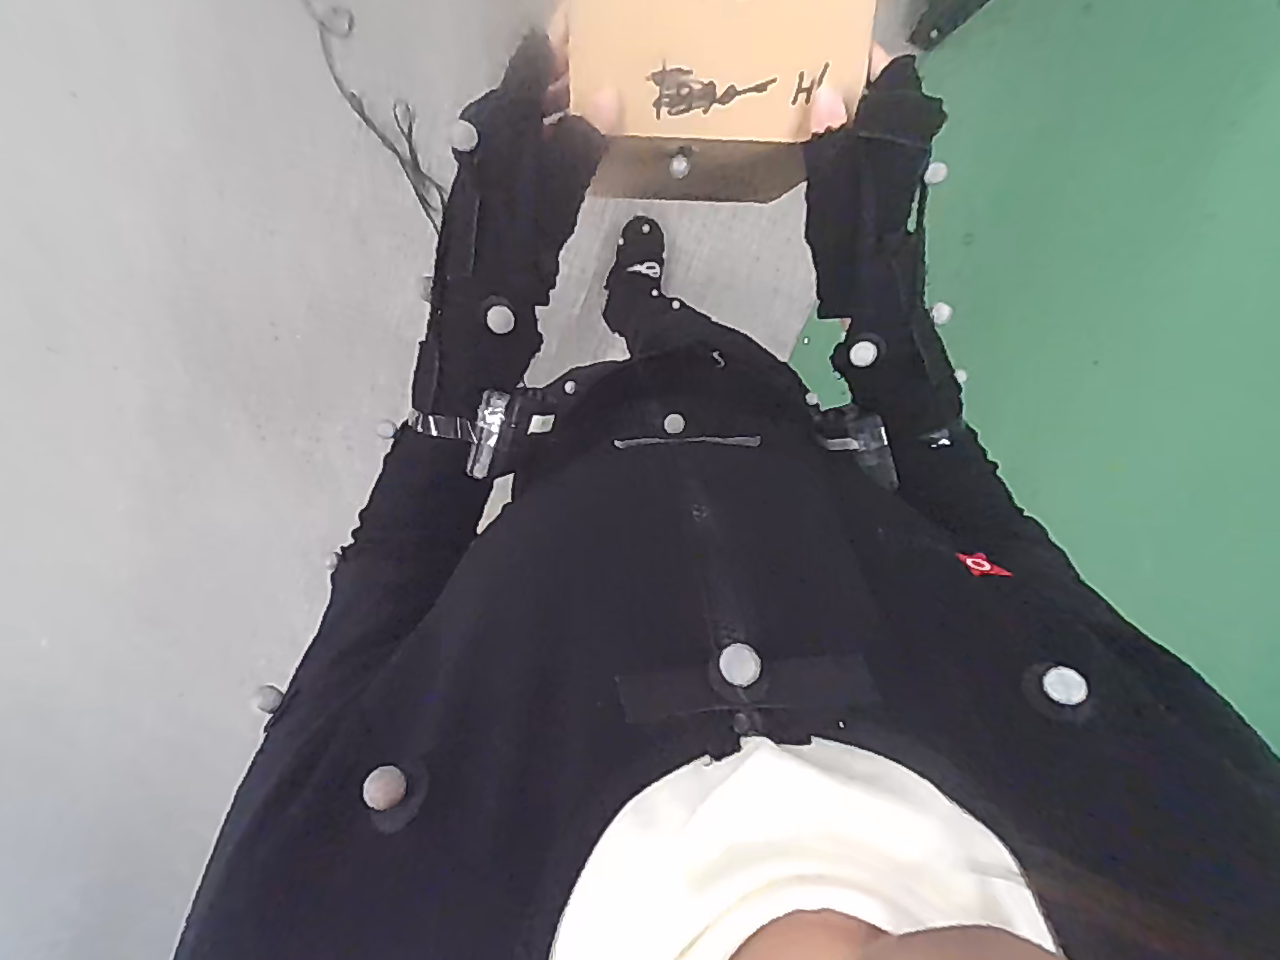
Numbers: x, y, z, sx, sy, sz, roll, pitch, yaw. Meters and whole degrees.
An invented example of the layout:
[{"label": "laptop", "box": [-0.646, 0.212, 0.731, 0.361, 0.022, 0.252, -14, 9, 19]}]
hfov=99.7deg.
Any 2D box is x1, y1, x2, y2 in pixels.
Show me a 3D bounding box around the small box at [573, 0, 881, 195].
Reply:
[{"label": "small box", "box": [0.042, -0.304, 0.350, 0.168, 0.176, 0.179, 0, 106, -4]}]
